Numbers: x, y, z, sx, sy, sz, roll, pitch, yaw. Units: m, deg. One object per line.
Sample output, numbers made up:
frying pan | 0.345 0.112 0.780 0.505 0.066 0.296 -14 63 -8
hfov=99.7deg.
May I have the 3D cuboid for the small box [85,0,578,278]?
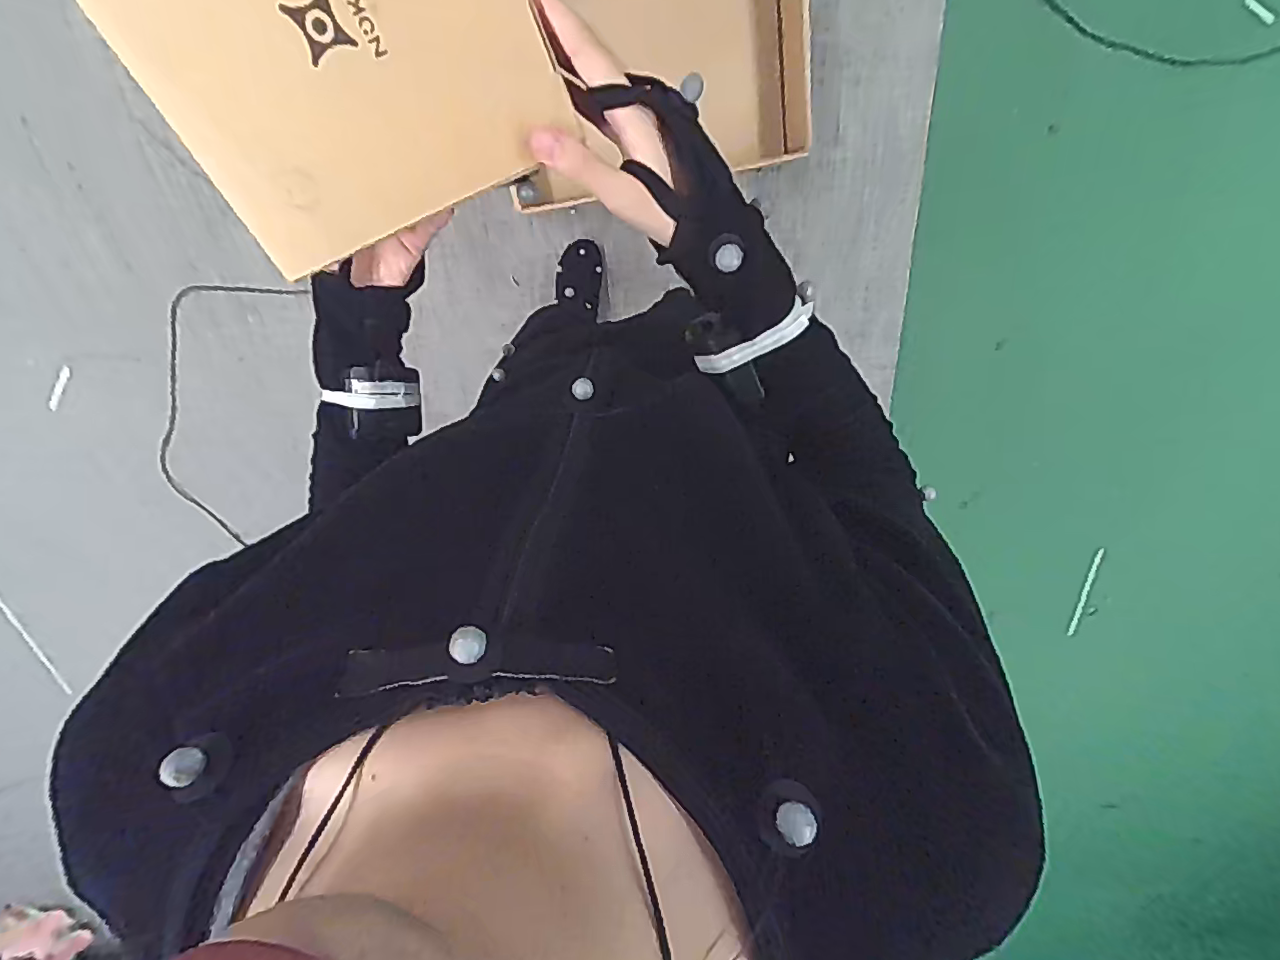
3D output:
small box | -0.152 -0.242 0.314 0.179 0.176 0.168 -25 122 2
